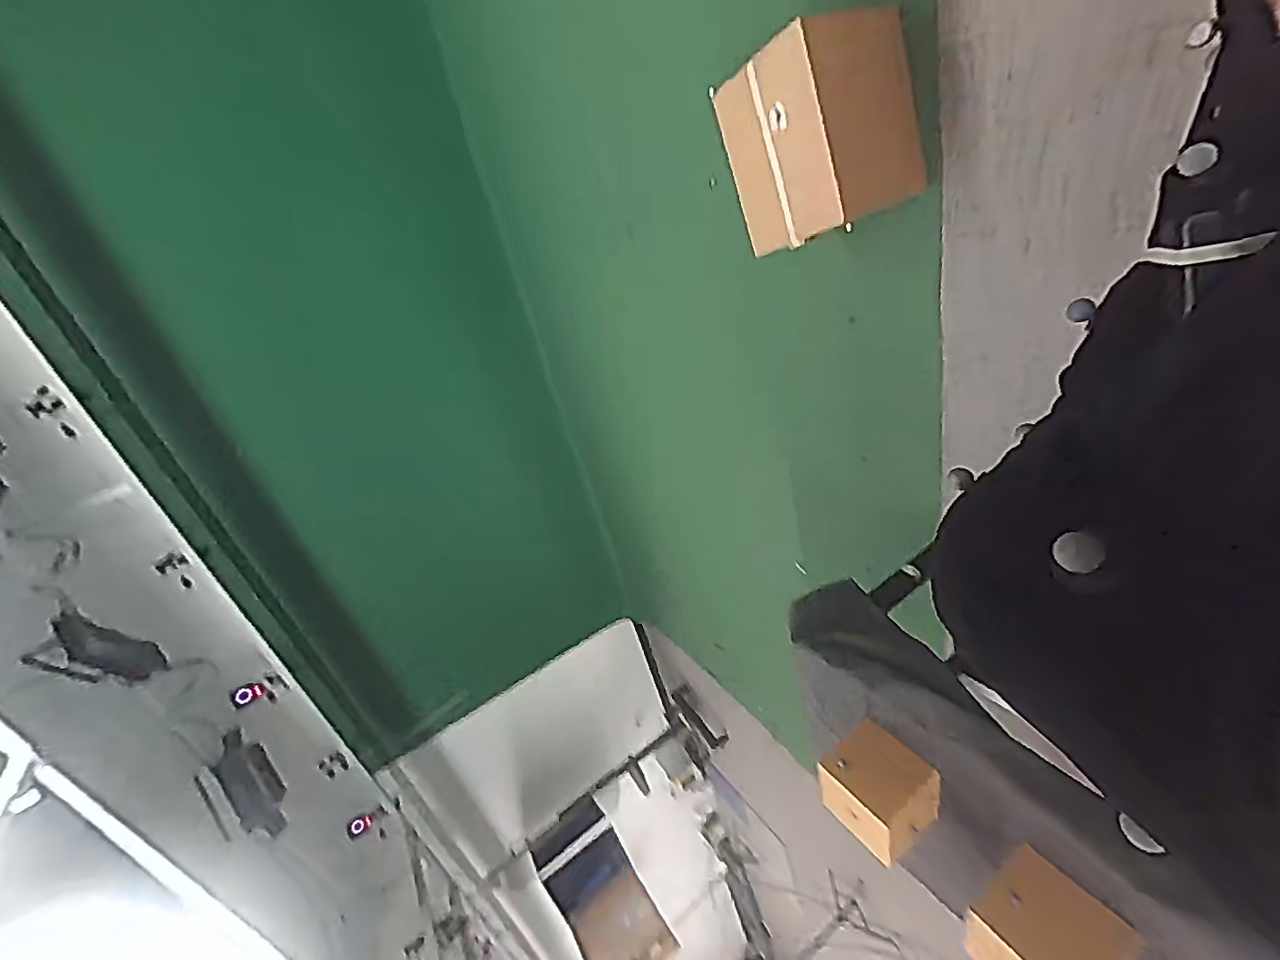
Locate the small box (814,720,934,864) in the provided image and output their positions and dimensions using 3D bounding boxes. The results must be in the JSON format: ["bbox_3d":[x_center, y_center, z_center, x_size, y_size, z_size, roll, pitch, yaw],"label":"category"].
[{"bbox_3d":[0.507,0.663,1.168,0.179,0.176,0.168,31,143,53],"label":"small box"}]
